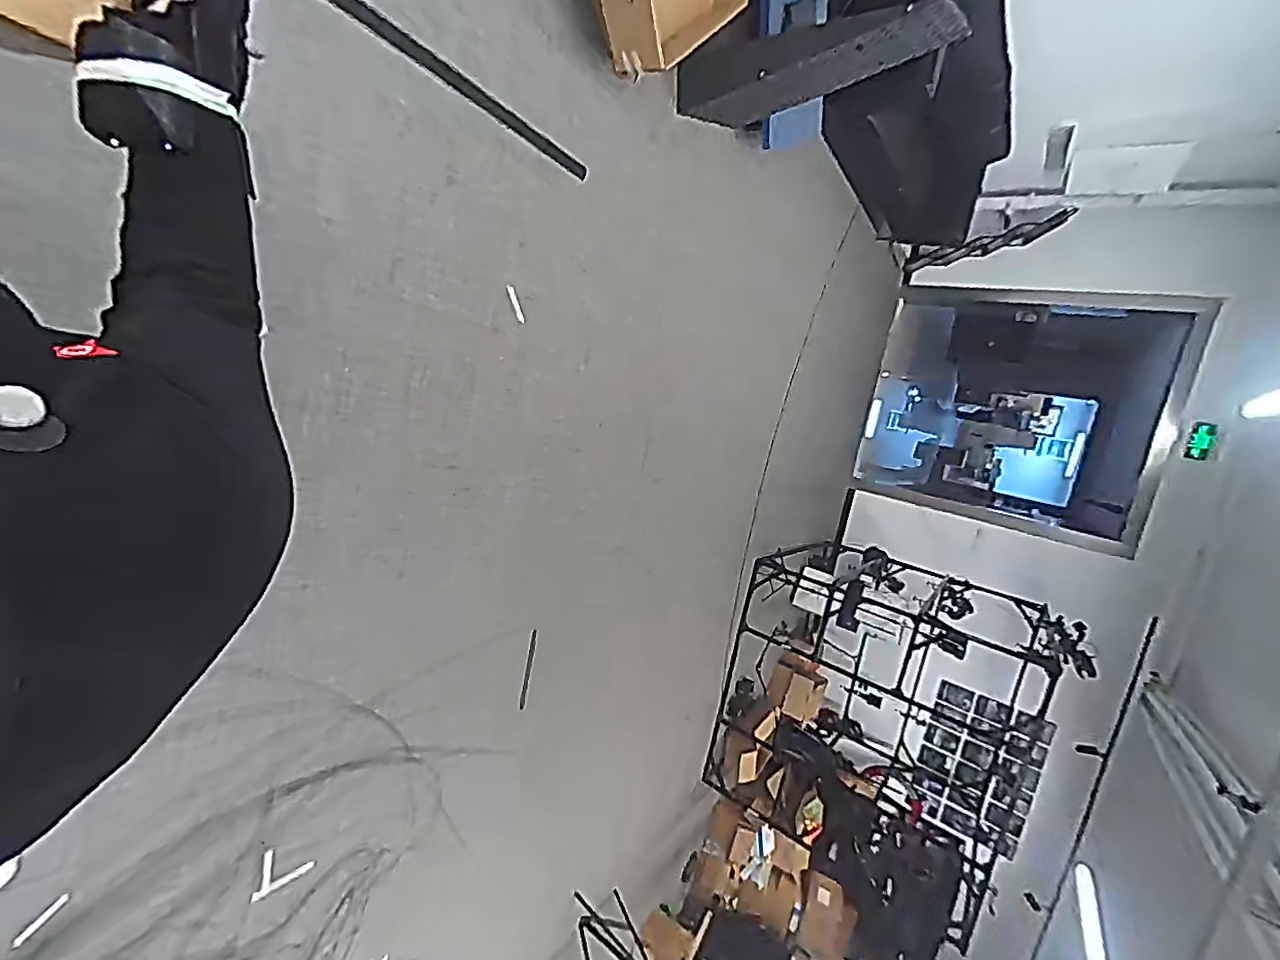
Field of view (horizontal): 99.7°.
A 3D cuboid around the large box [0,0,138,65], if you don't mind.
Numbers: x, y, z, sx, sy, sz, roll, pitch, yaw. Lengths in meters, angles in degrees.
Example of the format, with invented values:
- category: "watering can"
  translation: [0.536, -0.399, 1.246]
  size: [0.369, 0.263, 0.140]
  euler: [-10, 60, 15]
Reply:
- category: "large box"
  translation: [-0.541, -0.486, 0.250]
  size: [0.408, 0.320, 0.320]
  euler: [-5, 120, -60]
